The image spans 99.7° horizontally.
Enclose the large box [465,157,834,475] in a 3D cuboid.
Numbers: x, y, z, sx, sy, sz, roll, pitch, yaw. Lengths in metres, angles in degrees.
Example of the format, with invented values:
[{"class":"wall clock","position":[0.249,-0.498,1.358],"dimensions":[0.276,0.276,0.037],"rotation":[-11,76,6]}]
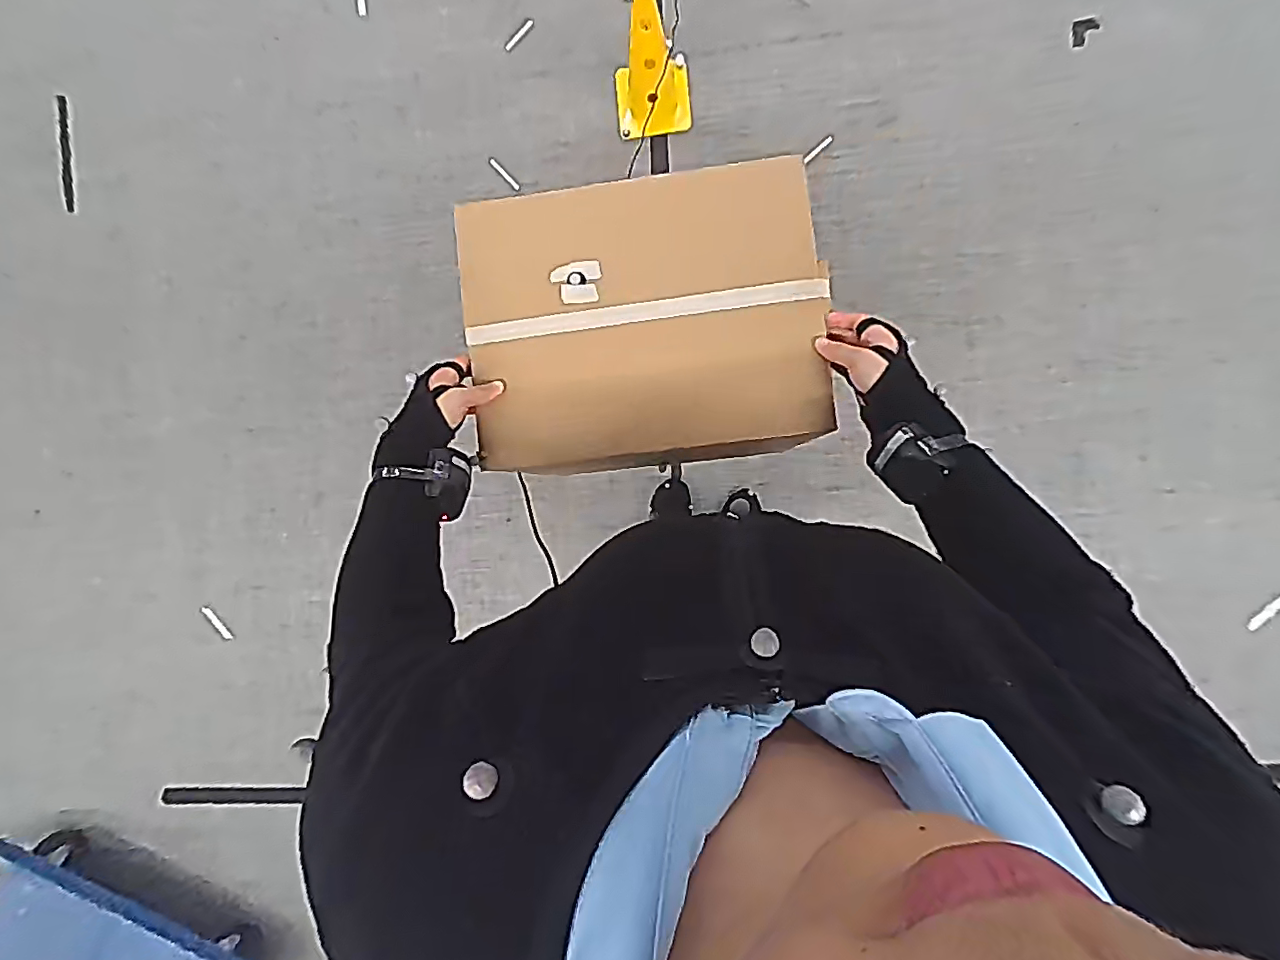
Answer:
[{"class":"large box","position":[0.019,-0.186,0.770],"dimensions":[0.408,0.320,0.320],"rotation":[-7,87,6]}]
